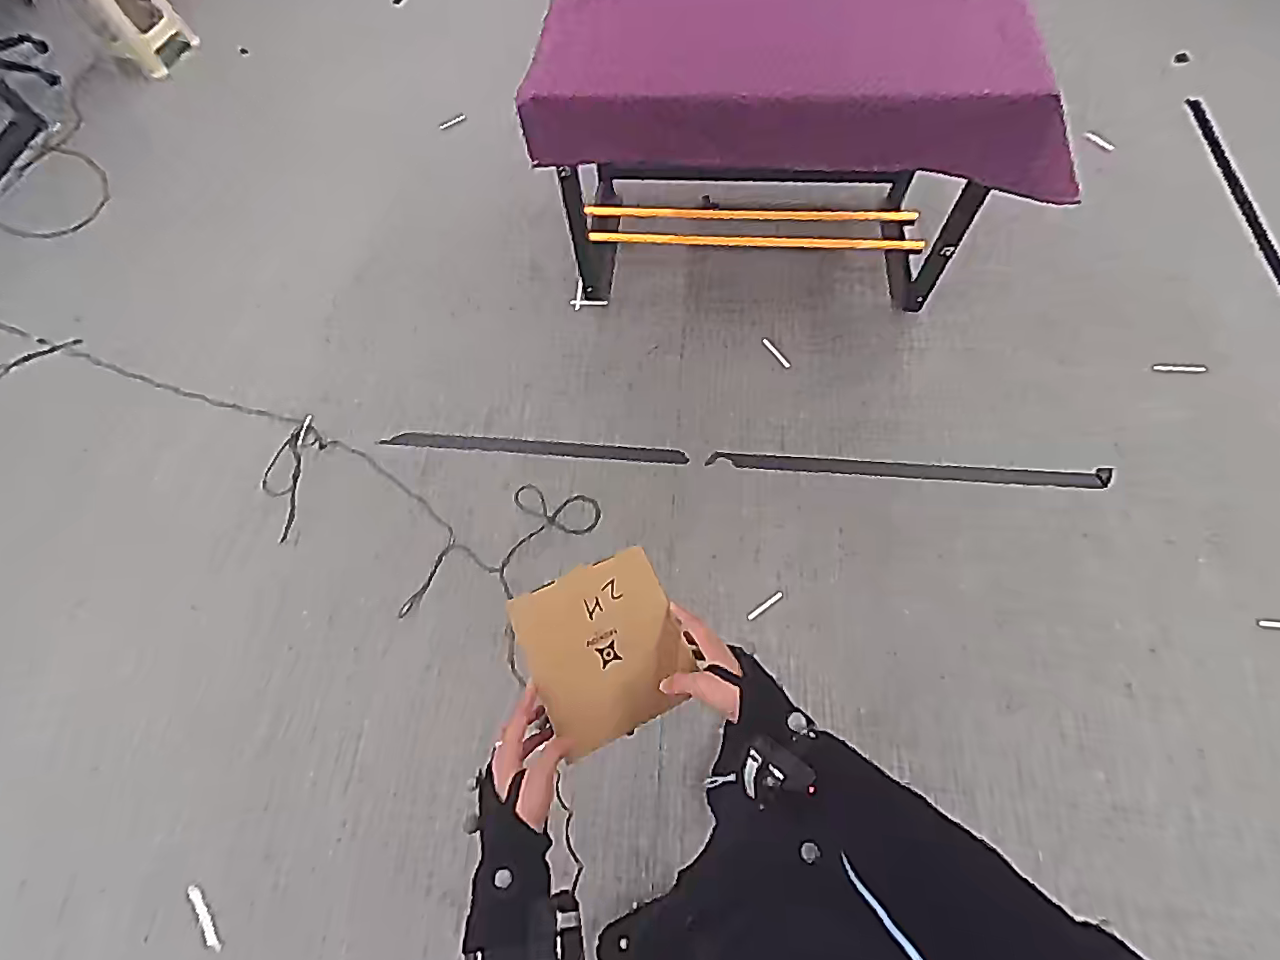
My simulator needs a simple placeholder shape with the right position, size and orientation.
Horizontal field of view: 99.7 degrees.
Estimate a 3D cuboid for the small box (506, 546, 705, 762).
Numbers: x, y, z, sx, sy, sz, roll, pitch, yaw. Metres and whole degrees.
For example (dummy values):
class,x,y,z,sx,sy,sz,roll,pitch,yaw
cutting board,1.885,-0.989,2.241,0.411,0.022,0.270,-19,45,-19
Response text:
class,x,y,z,sx,sy,sz,roll,pitch,yaw
small box,-0.047,0.202,0.648,0.168,0.176,0.179,-21,75,-16
